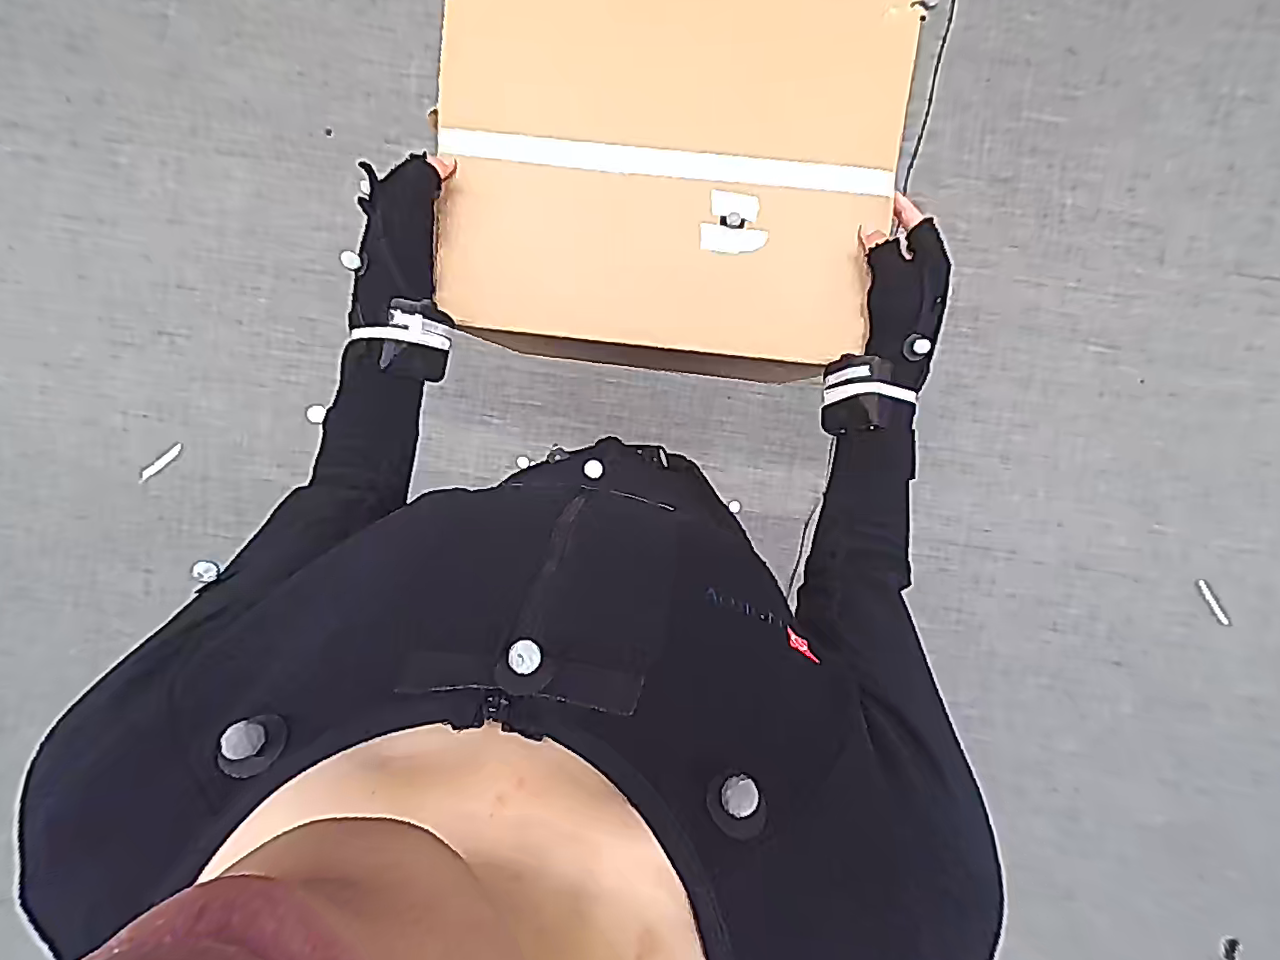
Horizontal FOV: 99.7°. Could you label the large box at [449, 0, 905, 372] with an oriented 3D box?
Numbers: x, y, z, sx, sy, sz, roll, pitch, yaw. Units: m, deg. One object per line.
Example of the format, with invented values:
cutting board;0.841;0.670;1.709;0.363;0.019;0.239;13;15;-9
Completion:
large box;0.027;-0.309;0.645;0.408;0.320;0.320;6;99;1
